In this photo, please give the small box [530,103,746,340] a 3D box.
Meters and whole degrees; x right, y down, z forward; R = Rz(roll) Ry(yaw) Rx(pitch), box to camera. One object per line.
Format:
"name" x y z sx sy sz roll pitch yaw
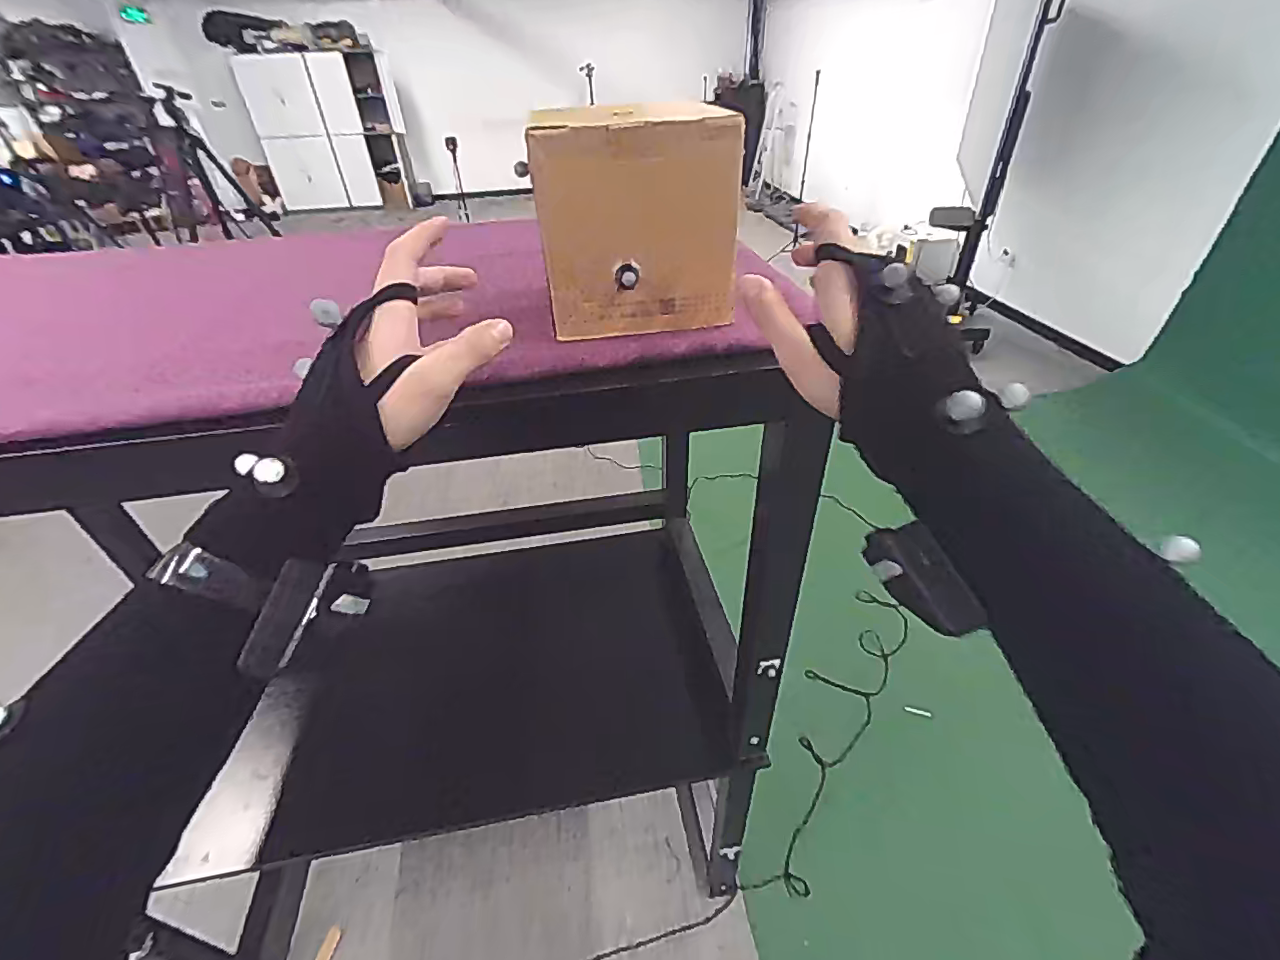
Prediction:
"small box" -0.008 -0.249 0.516 0.168 0.176 0.179 -7 39 -5
